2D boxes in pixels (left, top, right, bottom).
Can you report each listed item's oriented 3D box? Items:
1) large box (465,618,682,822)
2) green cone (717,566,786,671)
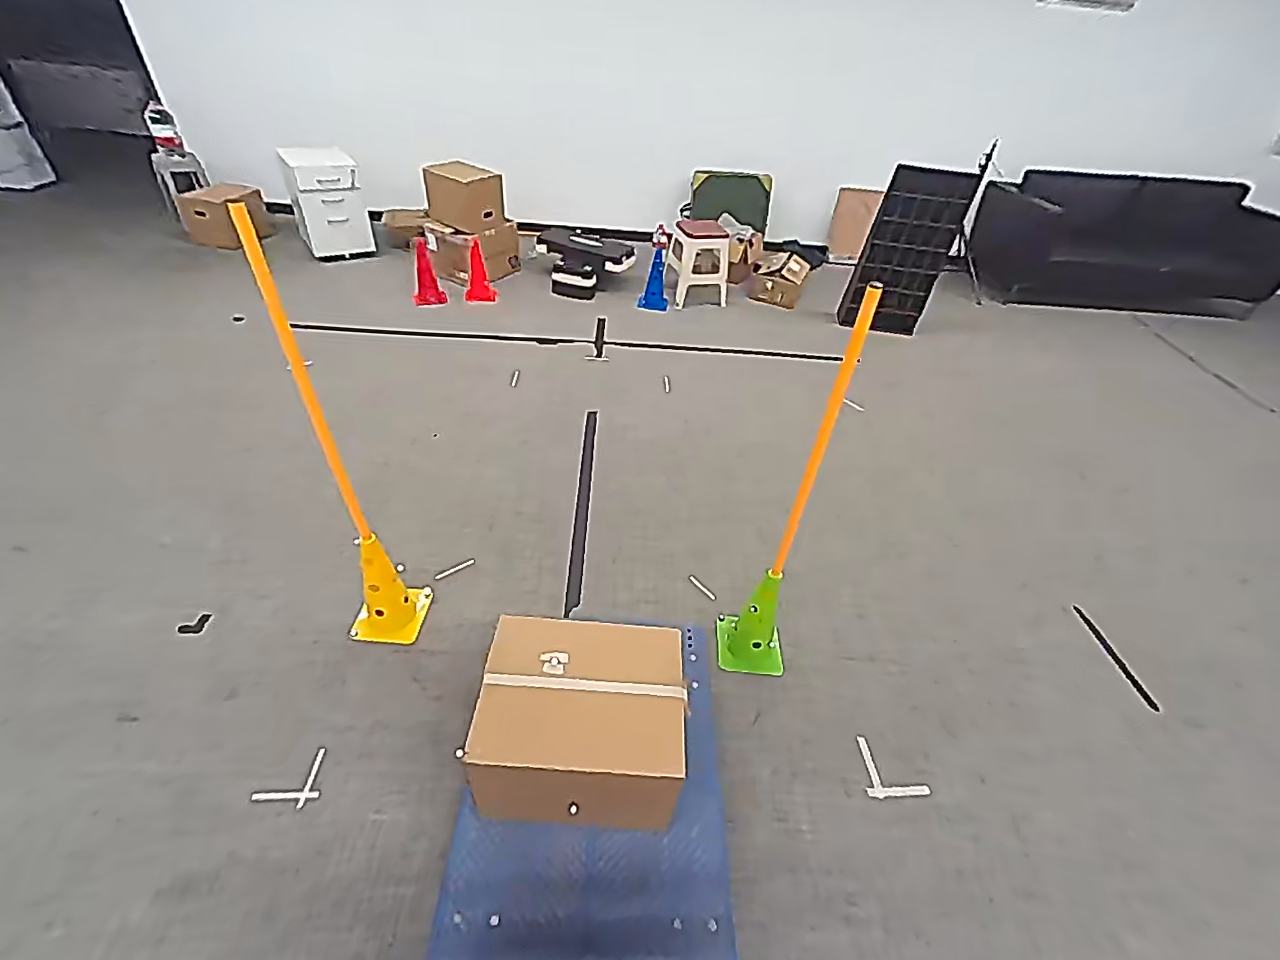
[{"bbox_3d":[-0.125,0.531,1.193,0.408,0.320,0.320,5,41,-1],"label":"large box"},{"bbox_3d":[0.368,0.392,1.635,0.202,0.368,0.200,7,41,-2],"label":"green cone"}]
